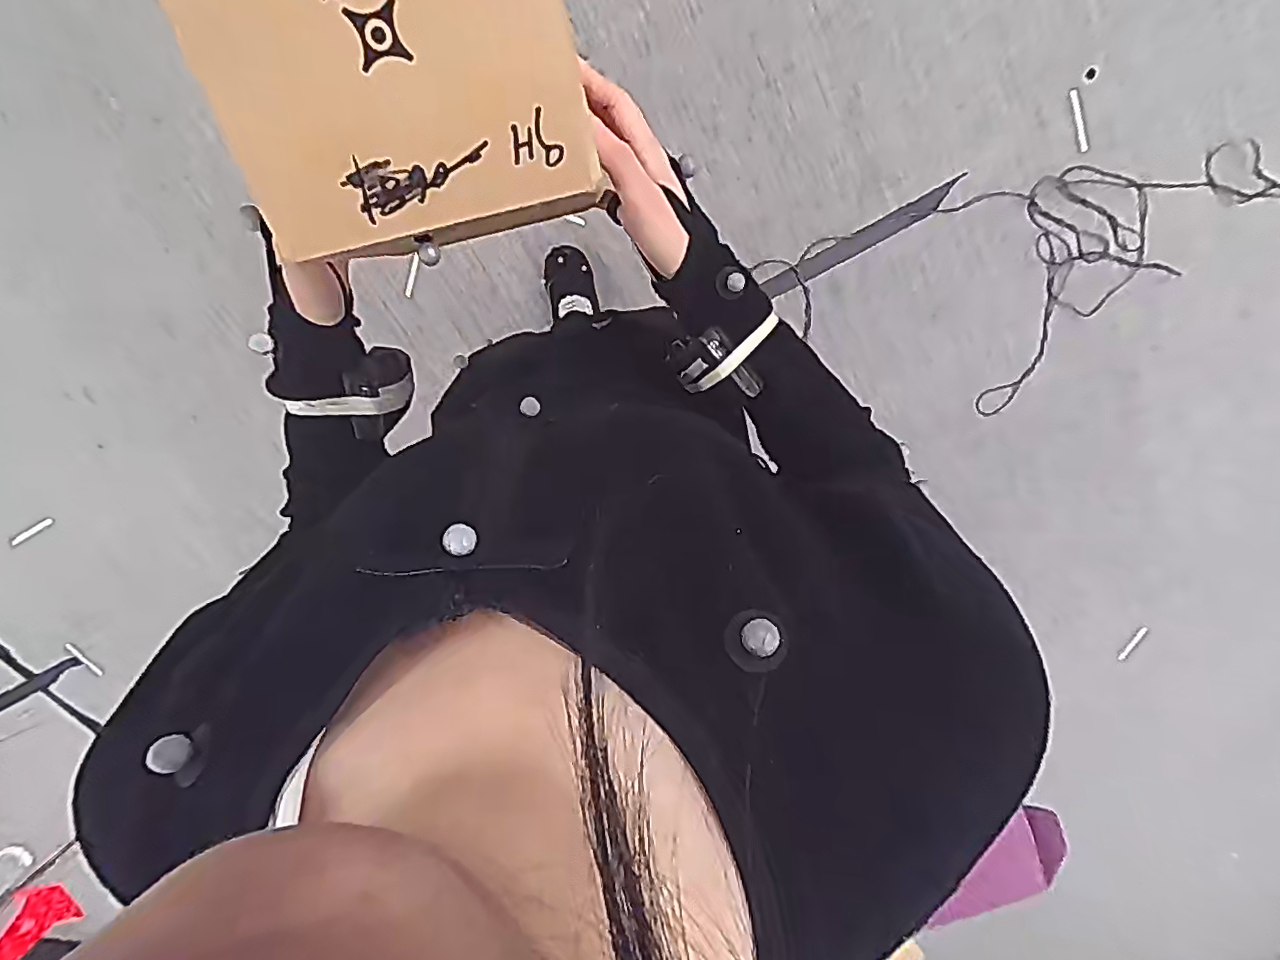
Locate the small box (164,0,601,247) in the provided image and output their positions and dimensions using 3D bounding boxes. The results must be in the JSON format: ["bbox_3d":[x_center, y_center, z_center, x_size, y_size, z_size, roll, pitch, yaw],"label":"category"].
[{"bbox_3d":[-0.123,-0.239,0.302,0.168,0.176,0.179,-14,114,0],"label":"small box"}]

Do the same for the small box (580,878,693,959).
[{"bbox_3d":[-0.004,0.893,1.010,0.179,0.176,0.168,-25,109,8],"label":"small box"}]
